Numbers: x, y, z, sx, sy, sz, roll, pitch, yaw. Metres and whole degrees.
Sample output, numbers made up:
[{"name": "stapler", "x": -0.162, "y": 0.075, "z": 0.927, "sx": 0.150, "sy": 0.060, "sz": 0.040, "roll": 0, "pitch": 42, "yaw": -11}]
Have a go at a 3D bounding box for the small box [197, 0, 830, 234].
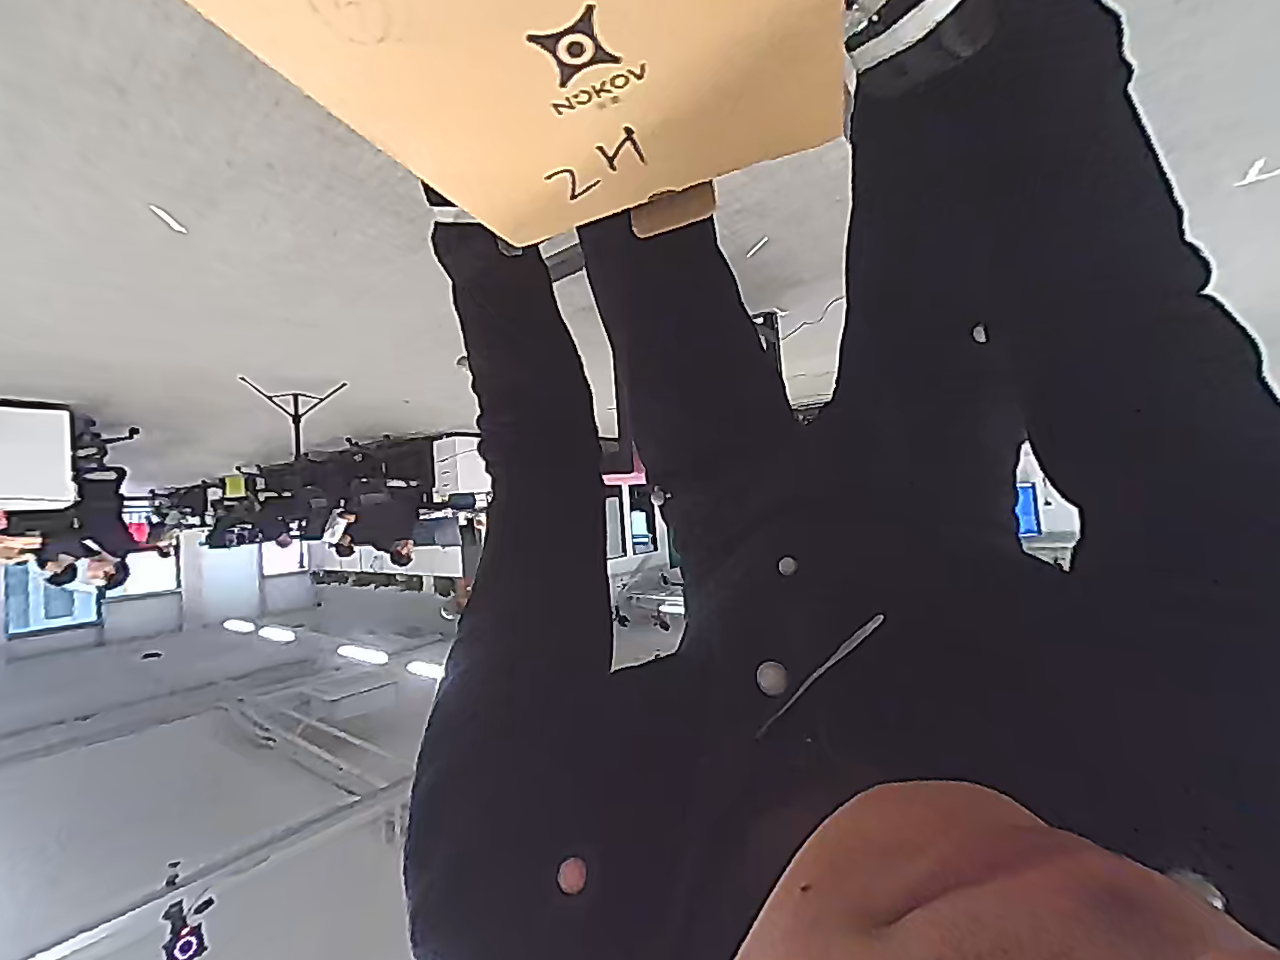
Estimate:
[{"name": "small box", "x": -0.035, "y": -0.221, "z": 0.179, "sx": 0.168, "sy": 0.176, "sz": 0.179, "roll": -9, "pitch": 177, "yaw": 20}]
